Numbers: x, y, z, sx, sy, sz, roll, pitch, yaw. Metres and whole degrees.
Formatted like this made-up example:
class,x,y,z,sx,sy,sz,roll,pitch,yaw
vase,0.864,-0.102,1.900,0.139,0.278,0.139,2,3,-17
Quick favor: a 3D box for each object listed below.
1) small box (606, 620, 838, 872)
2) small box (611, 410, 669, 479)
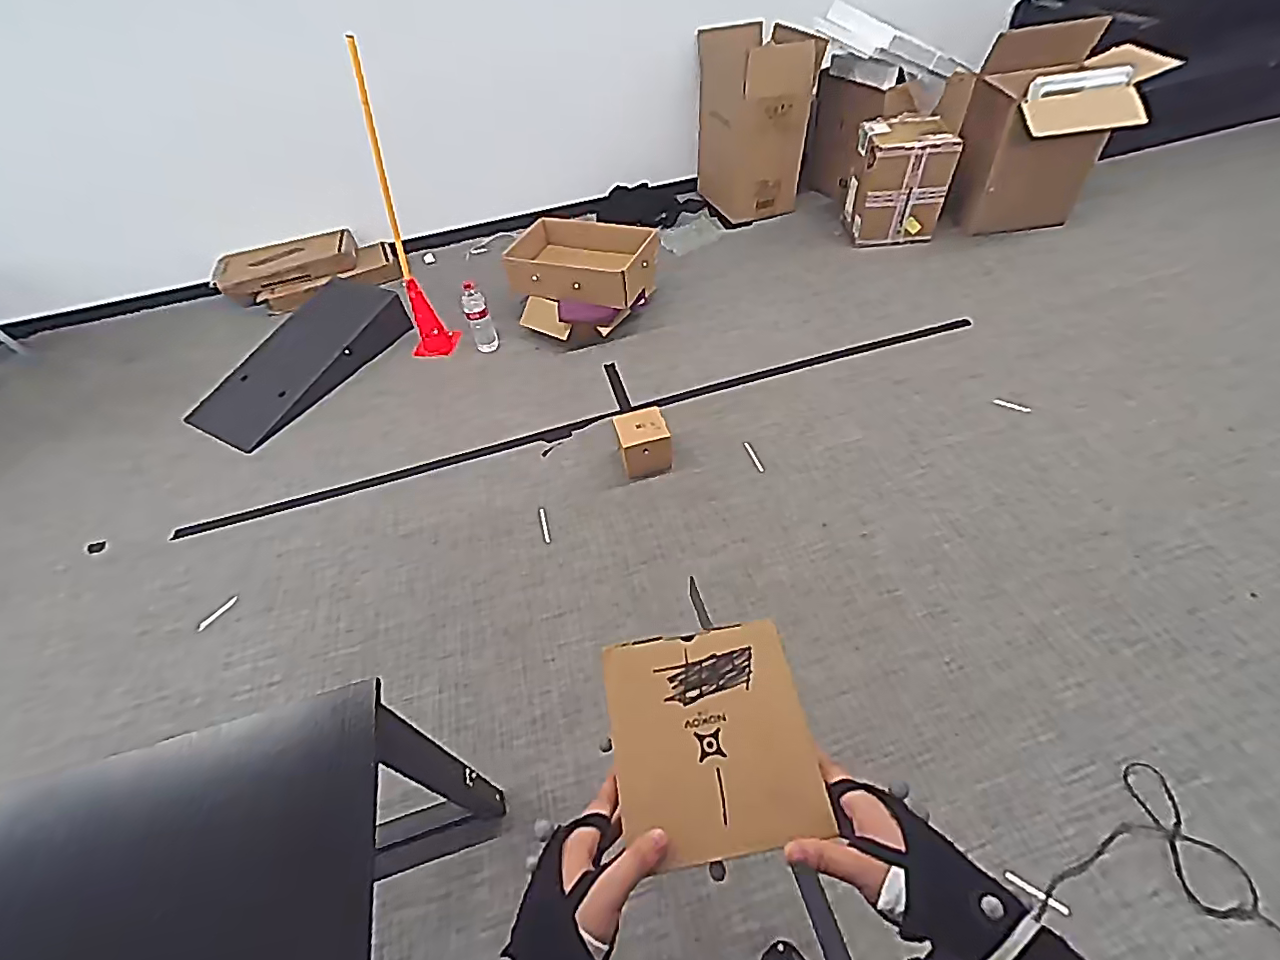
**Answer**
class,x,y,z,sx,sy,sz,roll,pitch,yaw
small box,0.061,0.258,0.520,0.168,0.176,0.179,-8,56,-4
small box,0.004,-0.126,1.985,0.179,0.176,0.168,-14,50,-7
